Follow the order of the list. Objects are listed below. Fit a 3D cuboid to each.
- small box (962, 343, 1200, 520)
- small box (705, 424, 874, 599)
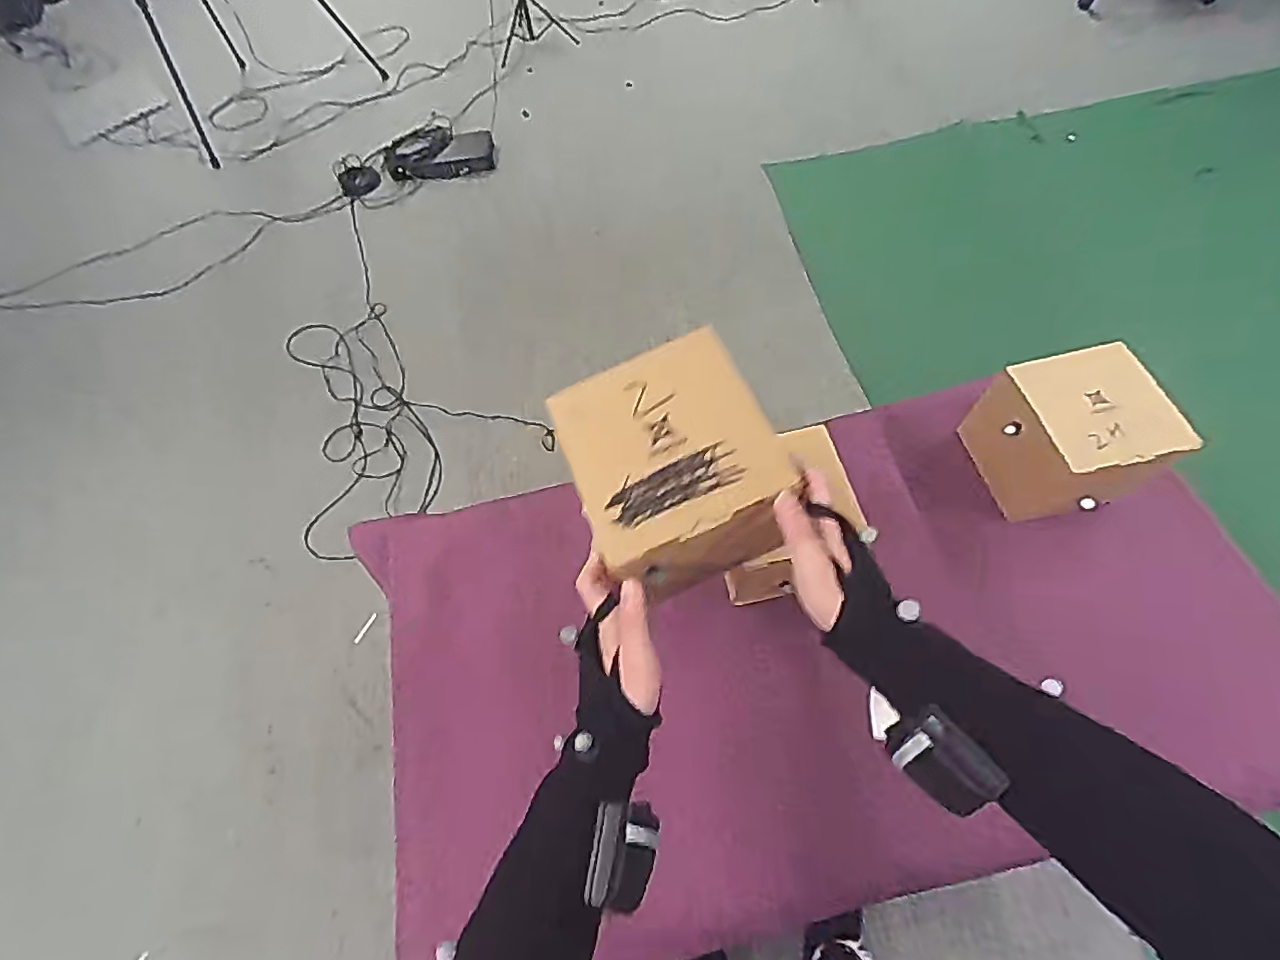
[{"bbox_3d":[0.605,-0.063,0.776,0.168,0.176,0.179,-12,64,1],"label":"small box"},{"bbox_3d":[0.192,0.050,0.759,0.168,0.176,0.179,-12,64,-2],"label":"small box"}]
